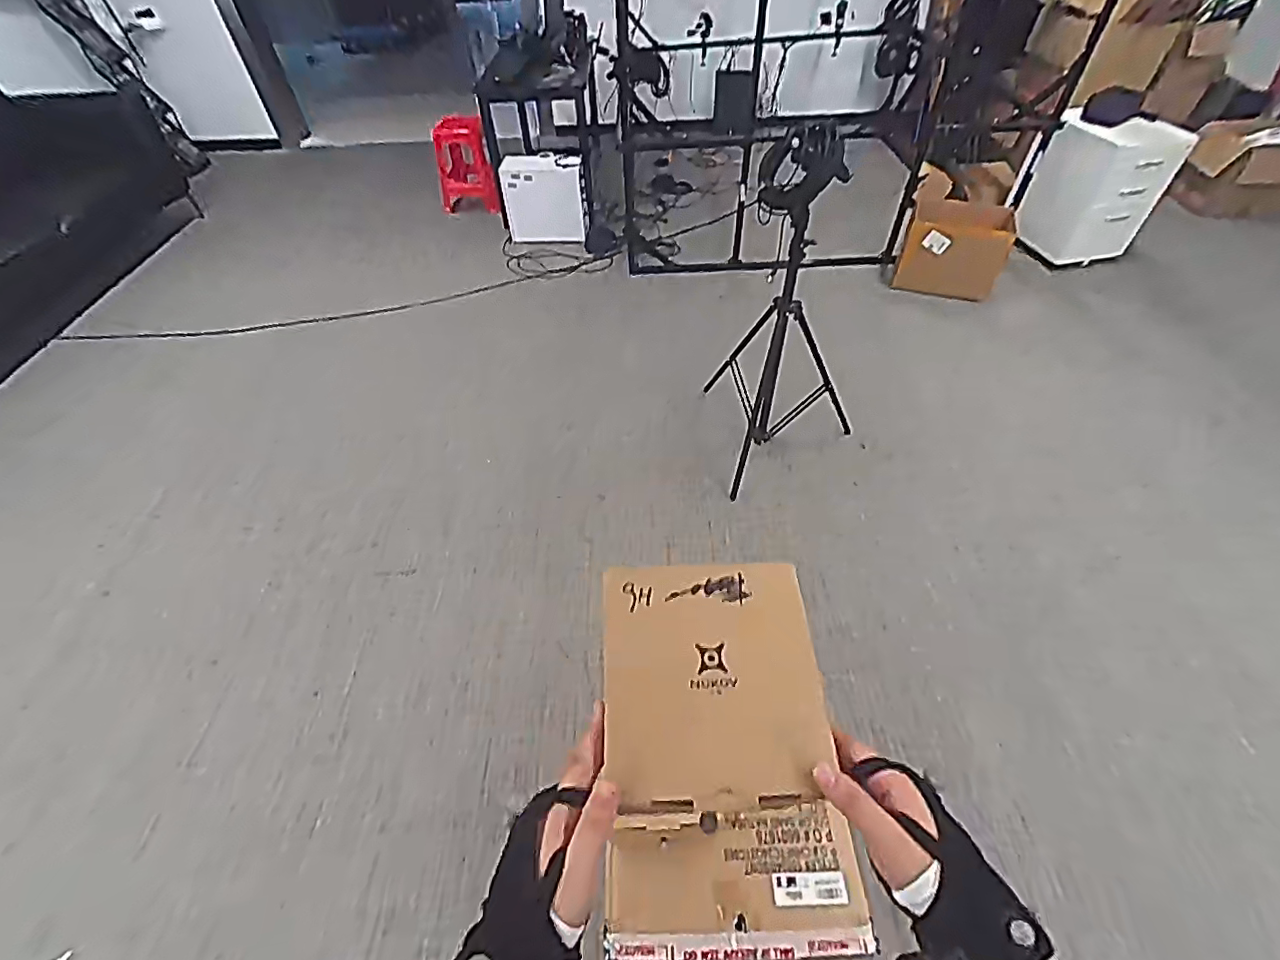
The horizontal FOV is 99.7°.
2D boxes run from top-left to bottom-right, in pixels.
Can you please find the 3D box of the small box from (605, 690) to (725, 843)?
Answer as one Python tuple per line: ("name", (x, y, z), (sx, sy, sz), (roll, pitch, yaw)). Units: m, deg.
("small box", (0.035, 0.447, 0.840), (0.168, 0.176, 0.179), (-5, 50, 1))
